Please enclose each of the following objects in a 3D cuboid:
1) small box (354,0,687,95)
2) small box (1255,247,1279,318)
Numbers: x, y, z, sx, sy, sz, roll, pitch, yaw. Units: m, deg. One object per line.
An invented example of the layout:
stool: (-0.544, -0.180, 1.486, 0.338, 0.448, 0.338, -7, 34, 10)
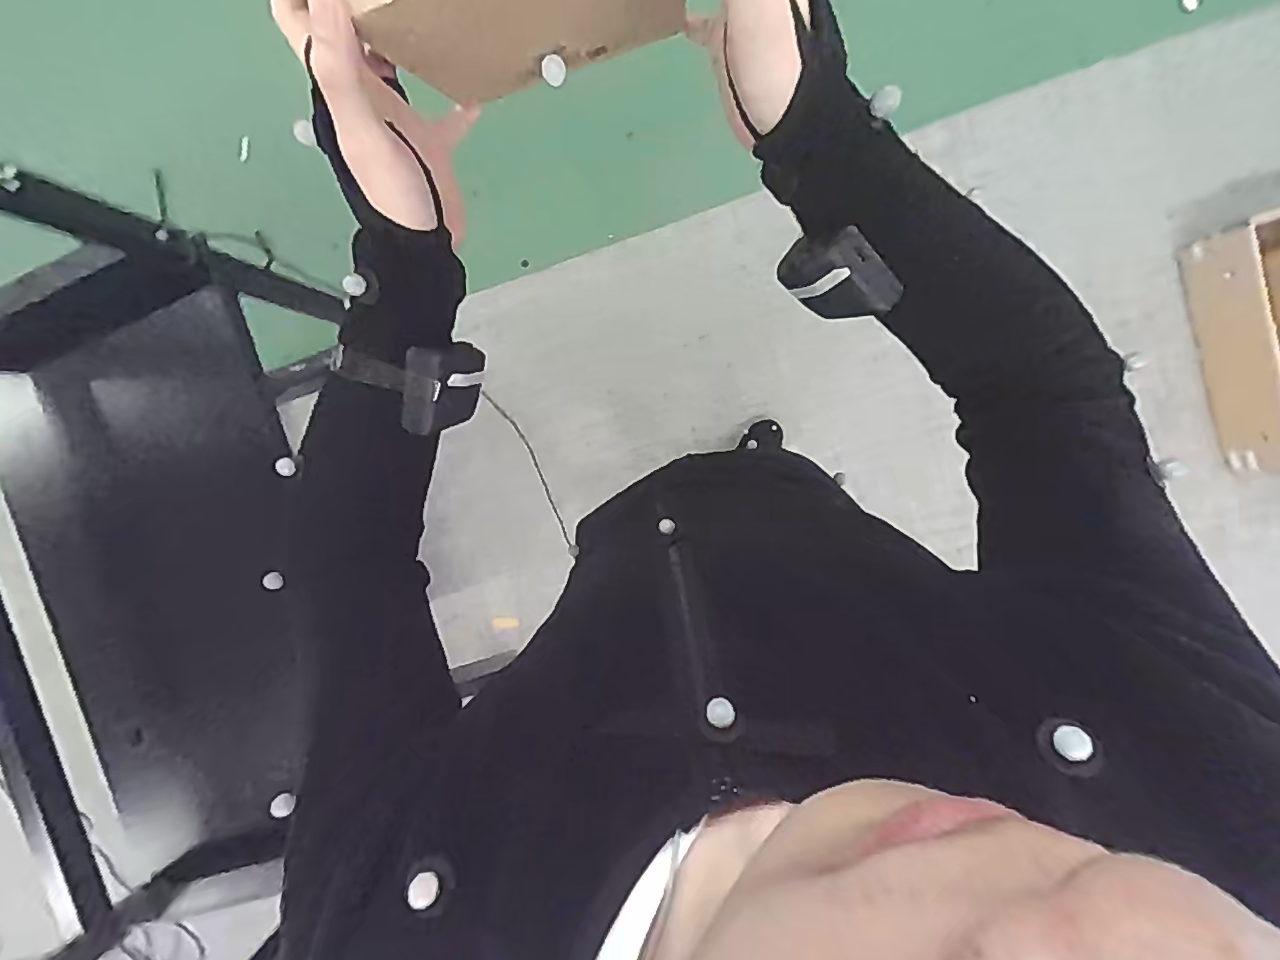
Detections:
small box: (-0.071, -0.334, 0.270, 0.168, 0.176, 0.179, -12, 112, 9)
small box: (1.618, -0.497, 1.269, 0.179, 0.176, 0.168, -16, 92, 8)
